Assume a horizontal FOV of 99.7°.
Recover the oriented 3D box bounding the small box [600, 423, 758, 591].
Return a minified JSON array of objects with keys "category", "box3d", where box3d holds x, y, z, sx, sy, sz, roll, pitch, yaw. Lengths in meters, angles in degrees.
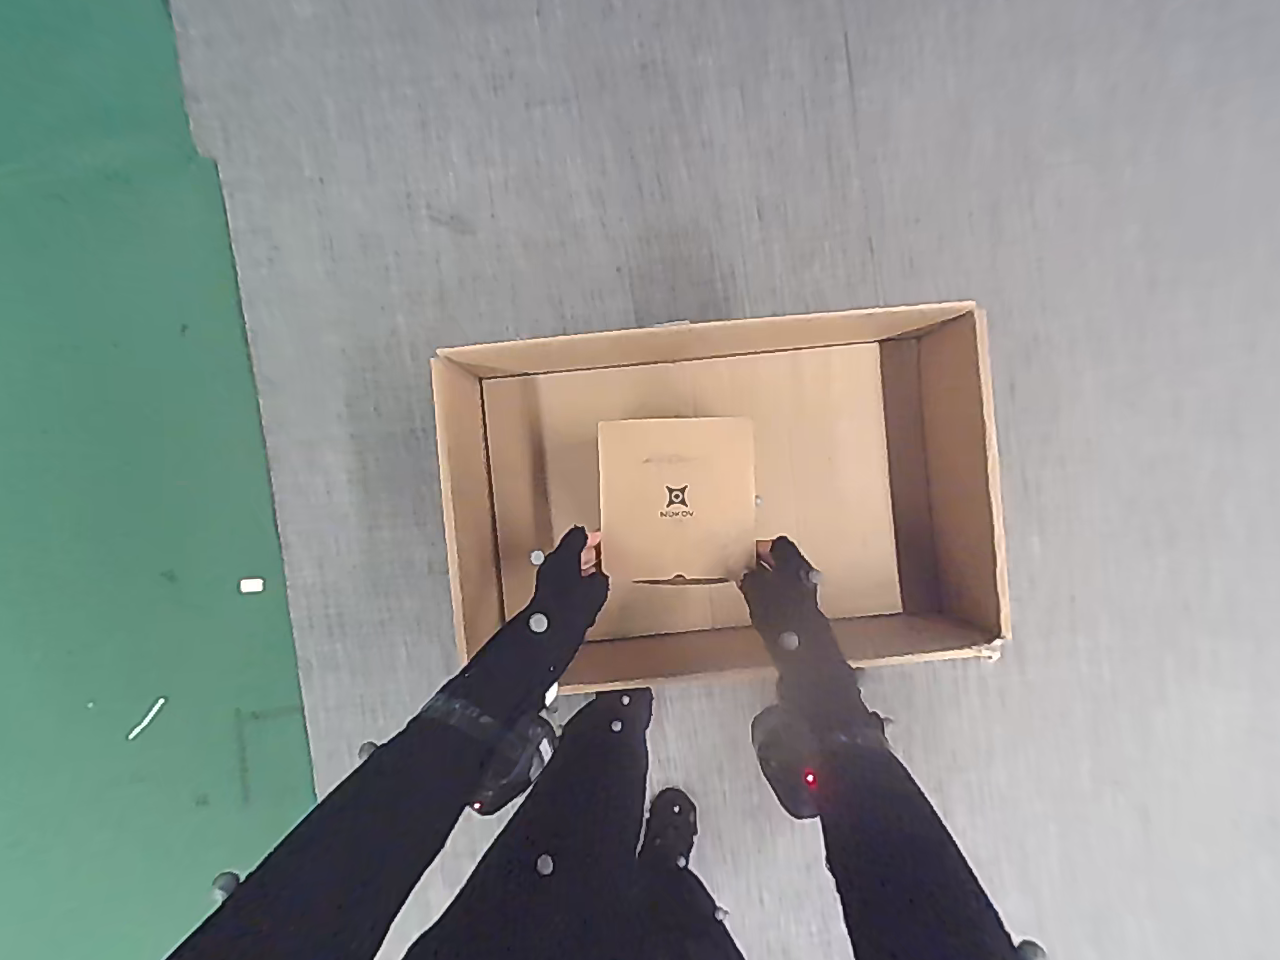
[{"category":"small box","box3d":[0.043,0.029,0.650,0.168,0.176,0.179,-2,89,1]}]
